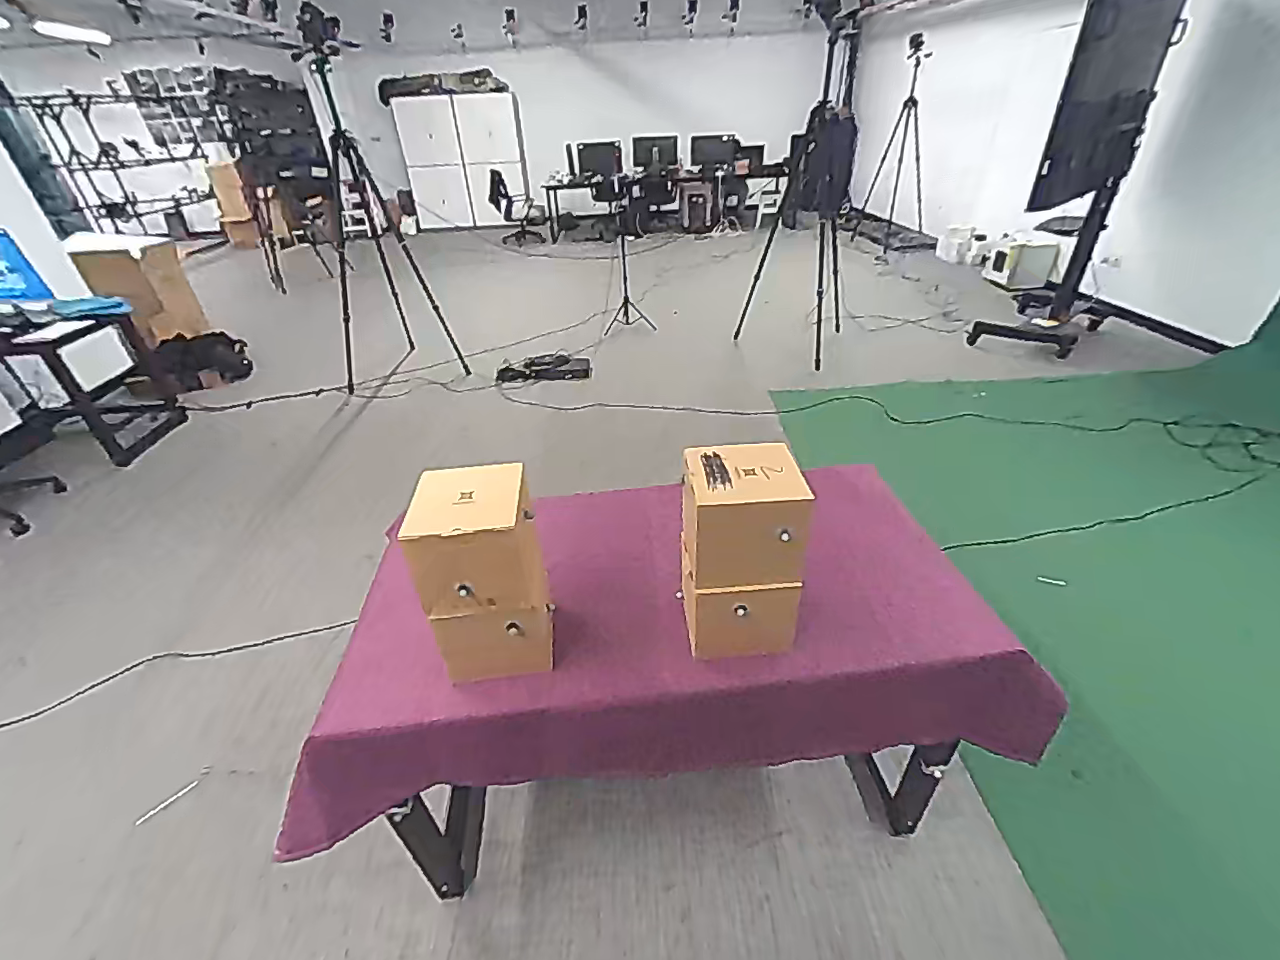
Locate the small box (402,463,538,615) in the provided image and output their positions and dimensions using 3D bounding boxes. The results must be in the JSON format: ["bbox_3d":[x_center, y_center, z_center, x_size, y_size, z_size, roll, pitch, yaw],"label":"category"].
[{"bbox_3d":[-0.261,0.092,0.876,0.168,0.176,0.179,-5,35,-4],"label":"small box"}]

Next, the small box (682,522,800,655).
[{"bbox_3d":[0.173,0.197,0.976,0.179,0.176,0.168,-4,35,-2],"label":"small box"}]

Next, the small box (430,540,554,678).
[{"bbox_3d":[-0.250,0.229,0.964,0.179,0.176,0.168,-5,34,-4],"label":"small box"}]
